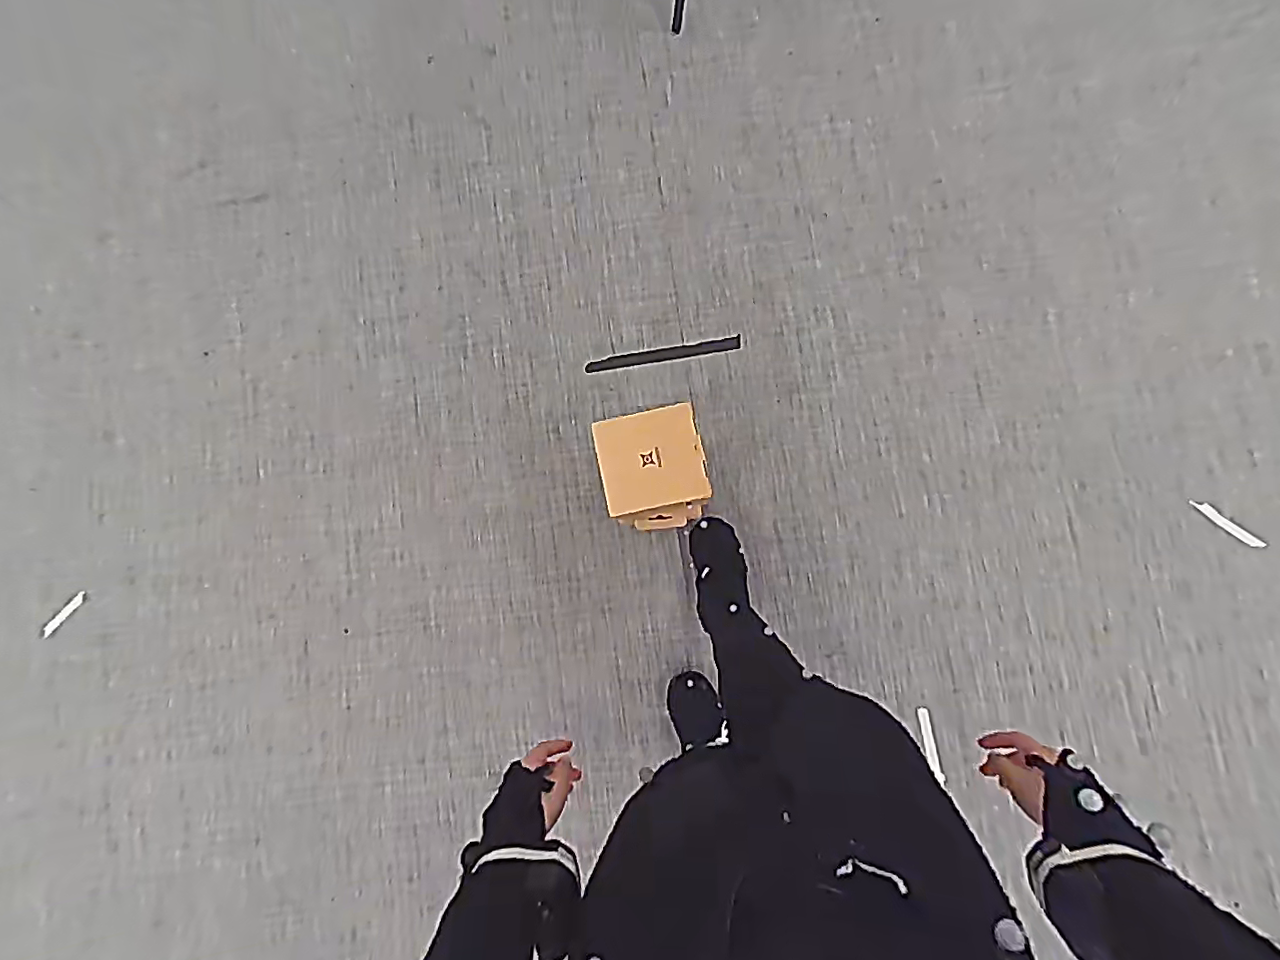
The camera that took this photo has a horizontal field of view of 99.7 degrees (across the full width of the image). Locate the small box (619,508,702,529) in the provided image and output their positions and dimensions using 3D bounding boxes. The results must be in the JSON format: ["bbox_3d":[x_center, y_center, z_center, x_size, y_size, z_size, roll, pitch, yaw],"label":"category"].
[{"bbox_3d":[0.040,0.011,1.140,0.168,0.176,0.179,-6,82,3],"label":"small box"}]

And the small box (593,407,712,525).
[{"bbox_3d":[0.026,-0.016,0.980,0.179,0.176,0.168,-13,83,2],"label":"small box"}]
